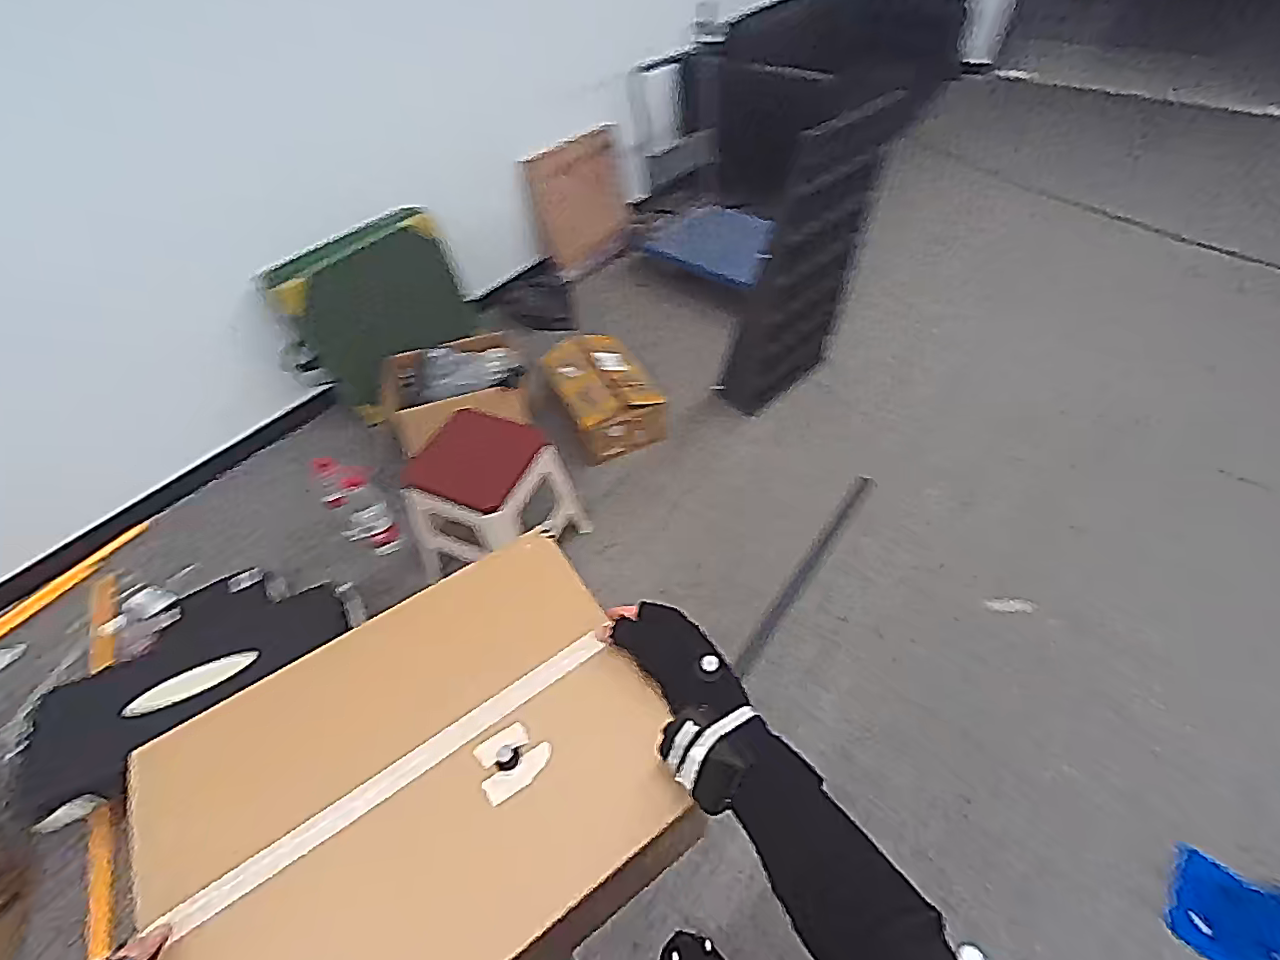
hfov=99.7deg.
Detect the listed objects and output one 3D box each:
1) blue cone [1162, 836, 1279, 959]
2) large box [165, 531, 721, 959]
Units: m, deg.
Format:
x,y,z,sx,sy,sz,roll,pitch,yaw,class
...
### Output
x,y,z,sx,sy,sz,roll,pitch,yaw,class
1.216,0.783,1.014,0.193,0.380,0.192,33,58,26,blue cone
-0.171,0.336,0.577,0.408,0.320,0.320,-28,54,-20,large box
